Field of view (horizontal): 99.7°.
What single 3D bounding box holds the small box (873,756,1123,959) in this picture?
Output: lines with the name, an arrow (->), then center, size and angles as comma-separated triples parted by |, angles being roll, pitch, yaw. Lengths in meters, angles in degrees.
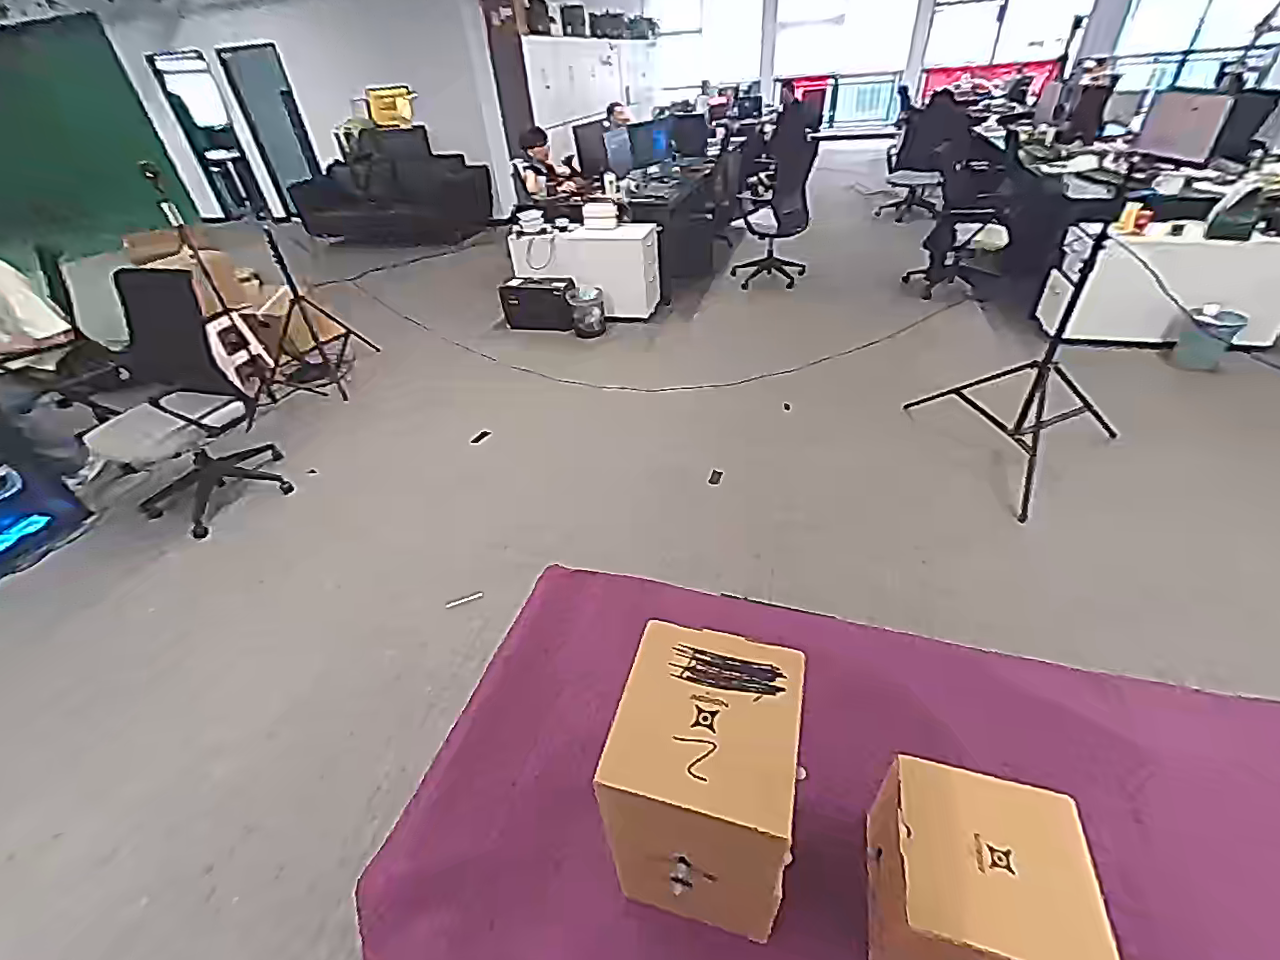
small box -> 0.361, 0.437, 0.583 | 0.179, 0.176, 0.168 | 7, 39, 17

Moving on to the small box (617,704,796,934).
small box -> 0.085, 0.406, 0.652 | 0.179, 0.176, 0.168 | 8, 39, 15
